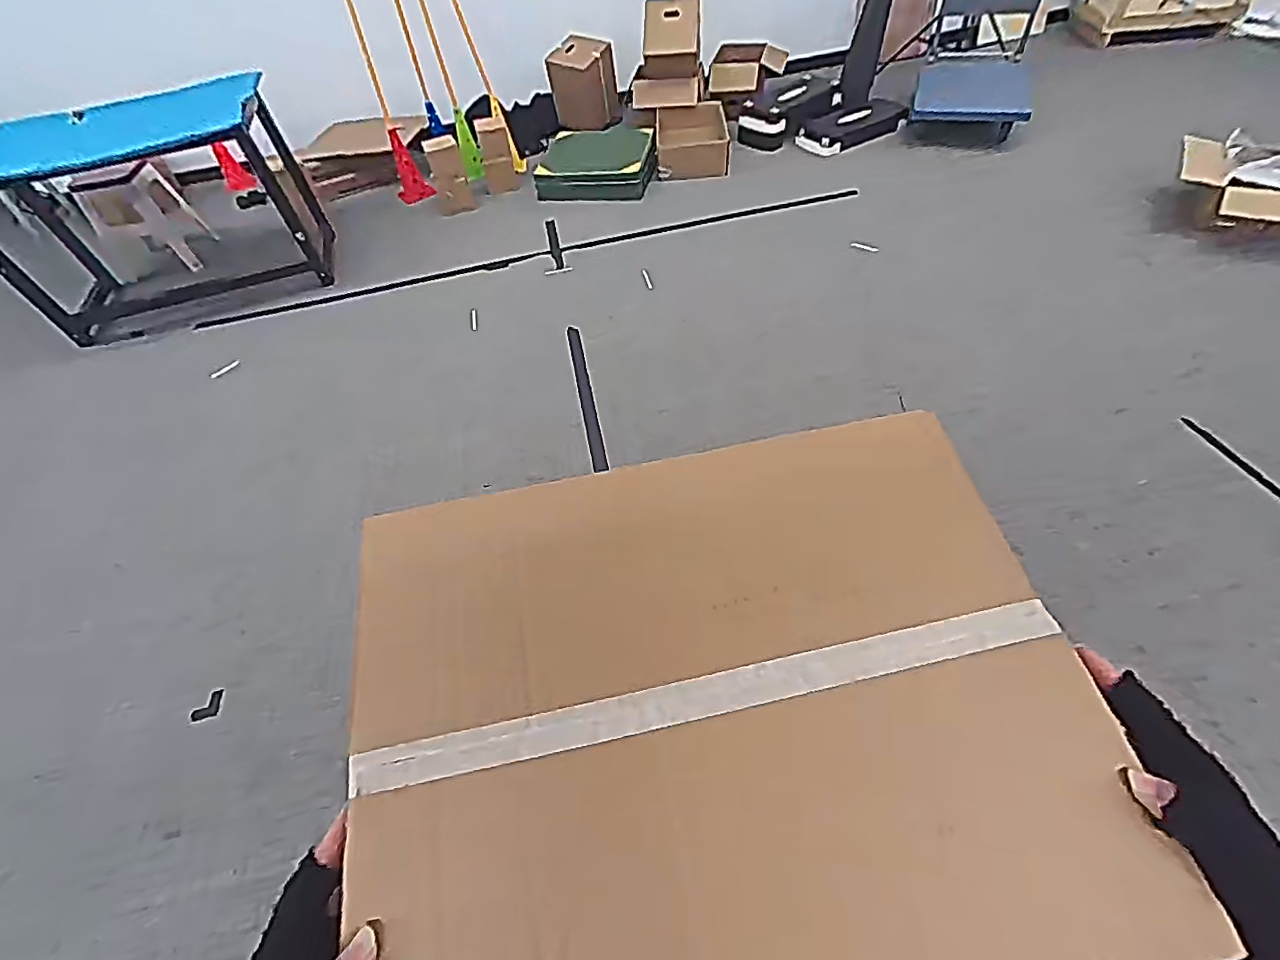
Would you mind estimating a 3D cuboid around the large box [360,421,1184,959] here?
[{"bbox_3d":[0.048,0.197,0.446,0.408,0.320,0.320,-12,61,-3],"label":"large box"}]
